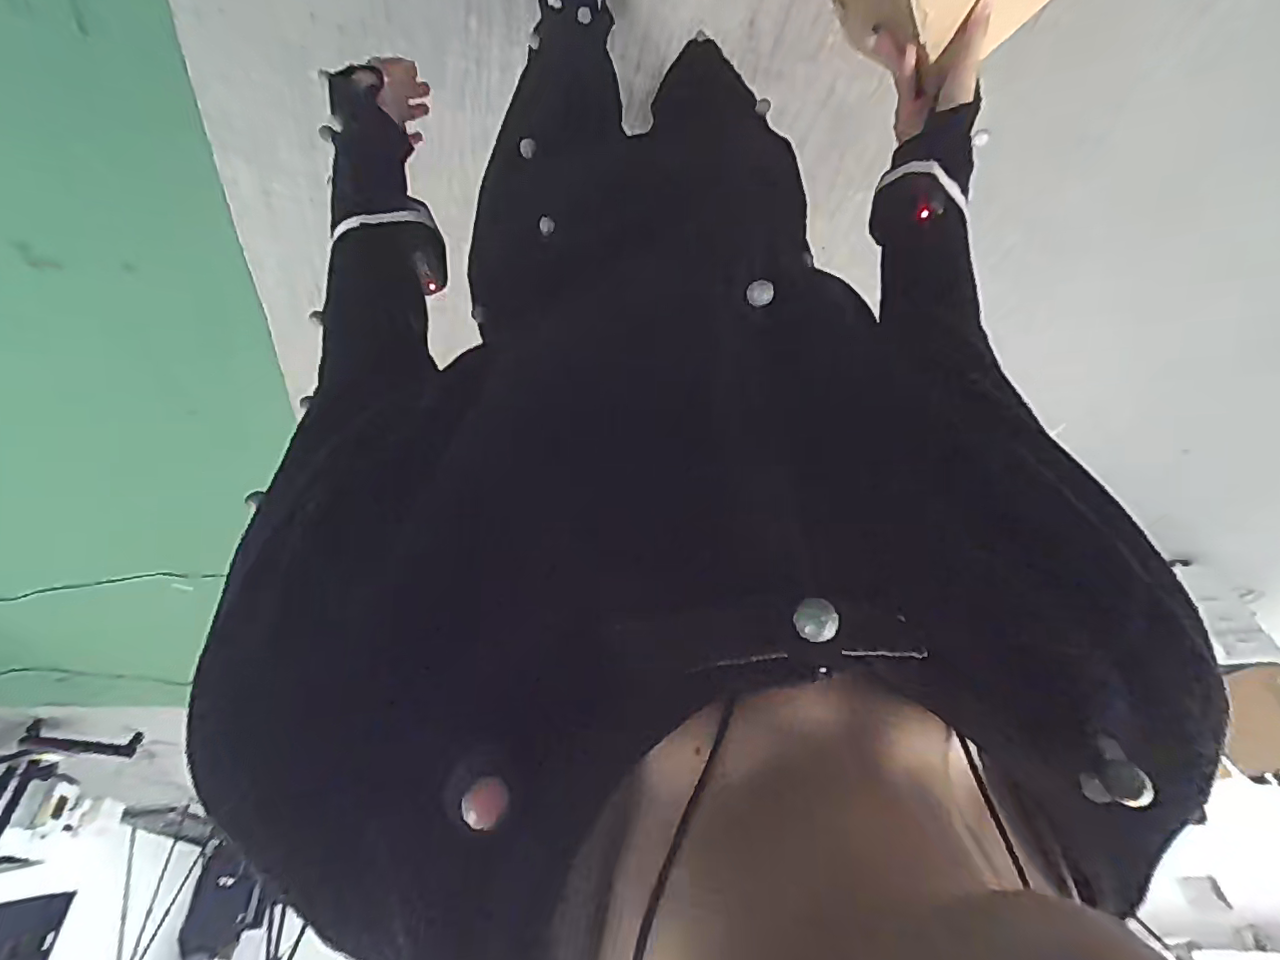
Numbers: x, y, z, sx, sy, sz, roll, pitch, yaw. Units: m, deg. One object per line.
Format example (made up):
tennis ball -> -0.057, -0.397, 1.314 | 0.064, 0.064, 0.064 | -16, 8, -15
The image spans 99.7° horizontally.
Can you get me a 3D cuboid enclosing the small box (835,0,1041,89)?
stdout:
small box -> 0.270, -0.507, 0.474 | 0.179, 0.176, 0.168 | -37, 143, 21
